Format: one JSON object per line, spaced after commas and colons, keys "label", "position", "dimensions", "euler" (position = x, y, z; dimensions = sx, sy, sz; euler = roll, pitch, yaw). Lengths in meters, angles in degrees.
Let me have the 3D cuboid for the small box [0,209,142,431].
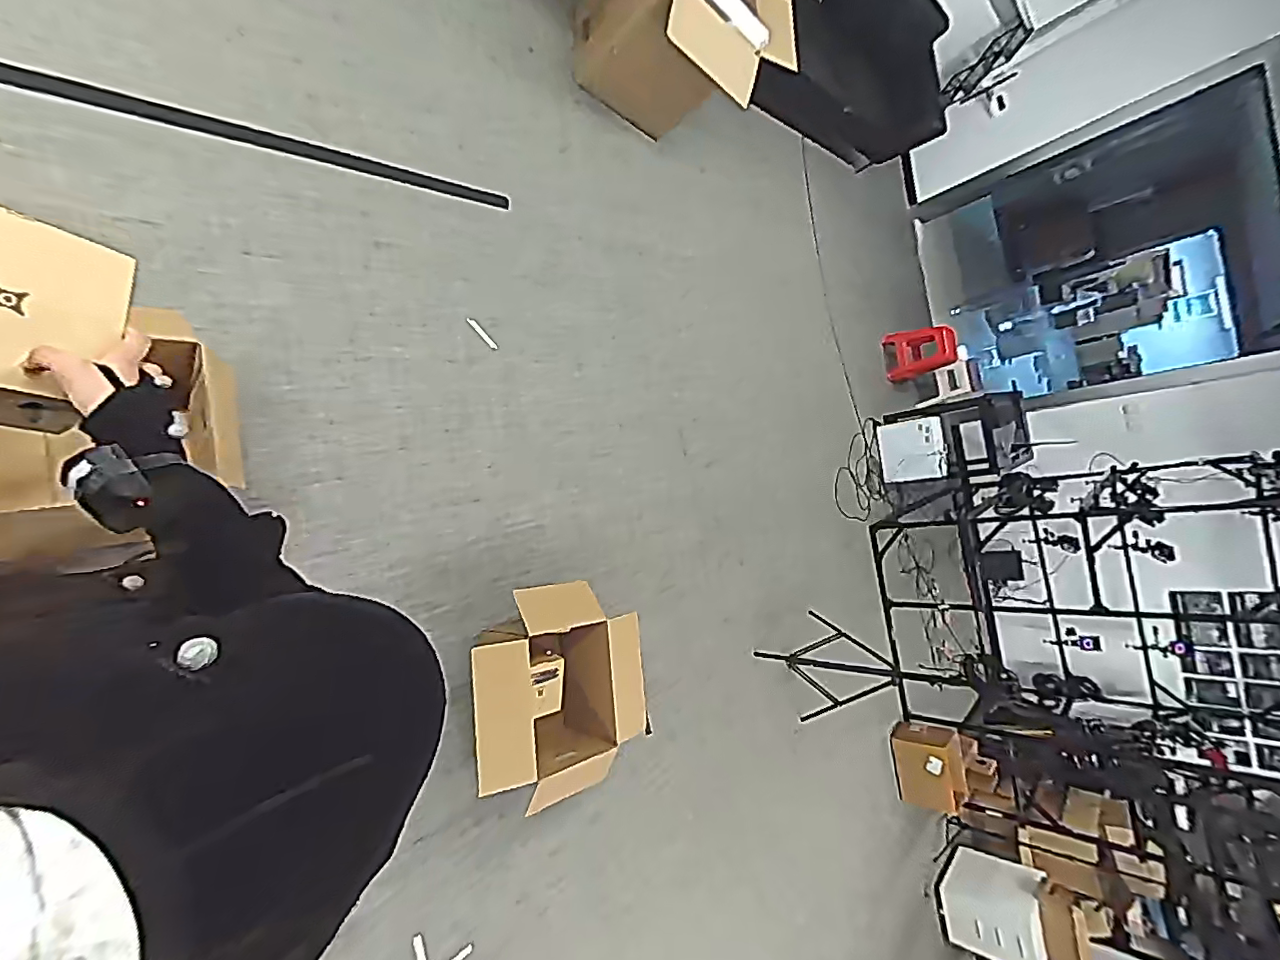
{"label": "small box", "position": [-0.629, -0.150, 0.514], "dimensions": [0.179, 0.176, 0.168], "euler": [16, 70, -56]}
